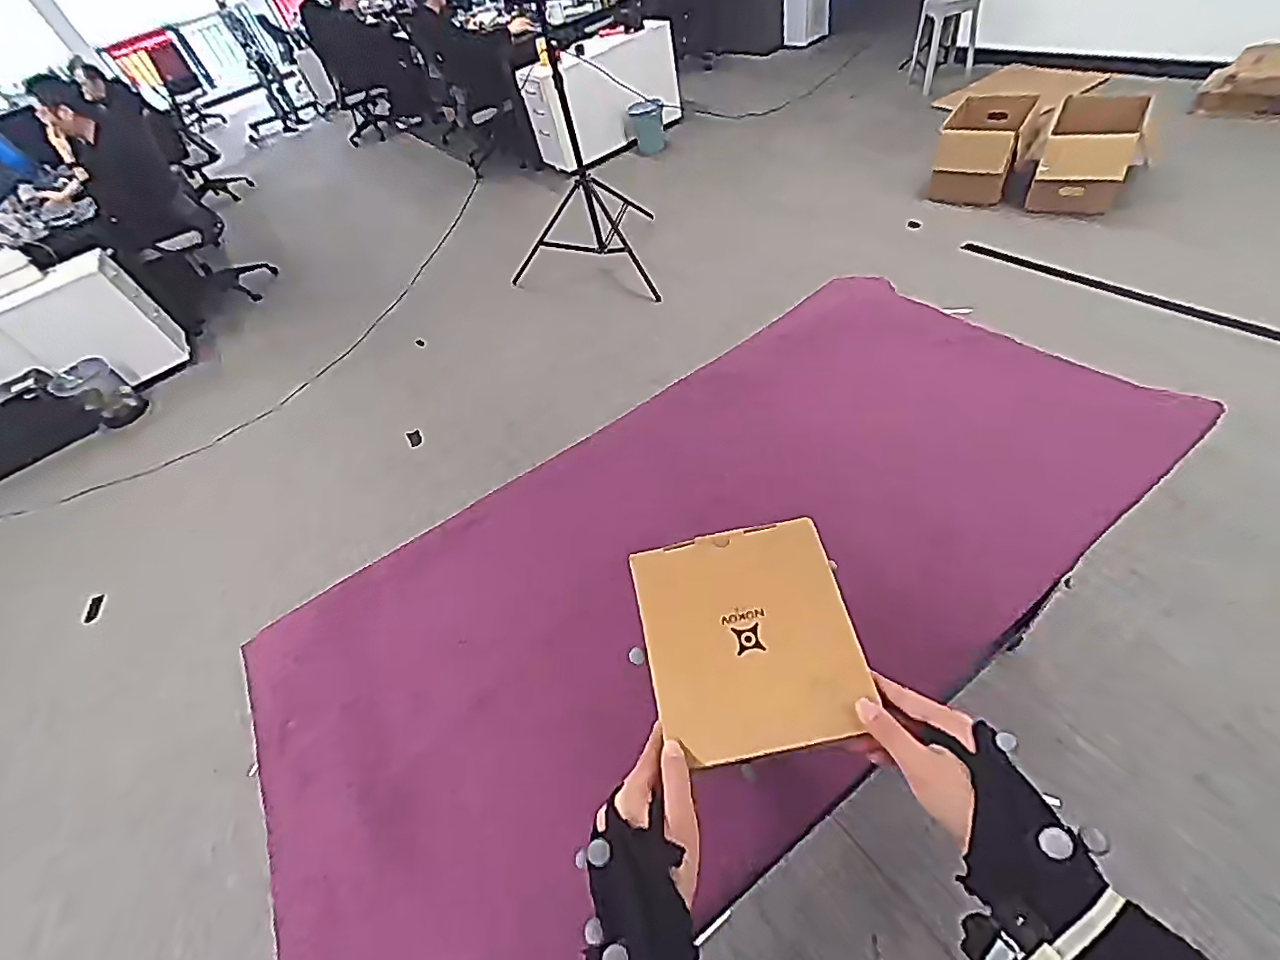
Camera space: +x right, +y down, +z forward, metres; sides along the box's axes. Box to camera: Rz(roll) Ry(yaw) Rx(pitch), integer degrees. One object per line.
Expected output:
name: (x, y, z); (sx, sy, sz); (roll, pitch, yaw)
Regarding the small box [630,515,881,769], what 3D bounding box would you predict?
small box: (0.095, 0.159, 0.503); (0.168, 0.176, 0.179); (-12, 59, 1)
